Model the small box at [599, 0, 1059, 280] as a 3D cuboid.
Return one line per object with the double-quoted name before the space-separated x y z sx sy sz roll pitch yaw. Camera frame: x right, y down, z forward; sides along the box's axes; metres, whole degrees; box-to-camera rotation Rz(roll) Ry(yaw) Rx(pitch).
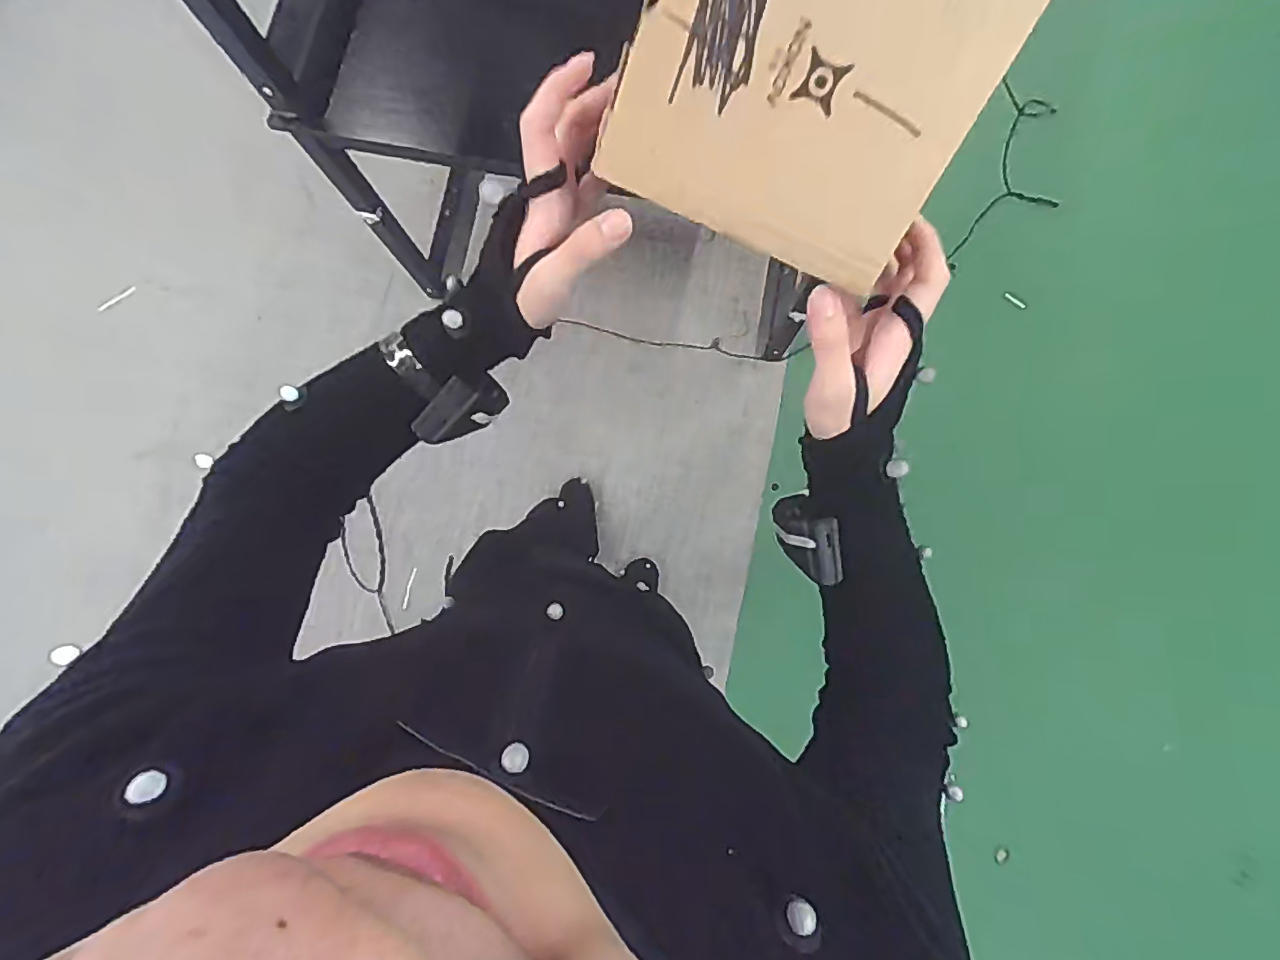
"small box" 0.095 -0.247 0.321 0.179 0.176 0.168 21 123 -7
